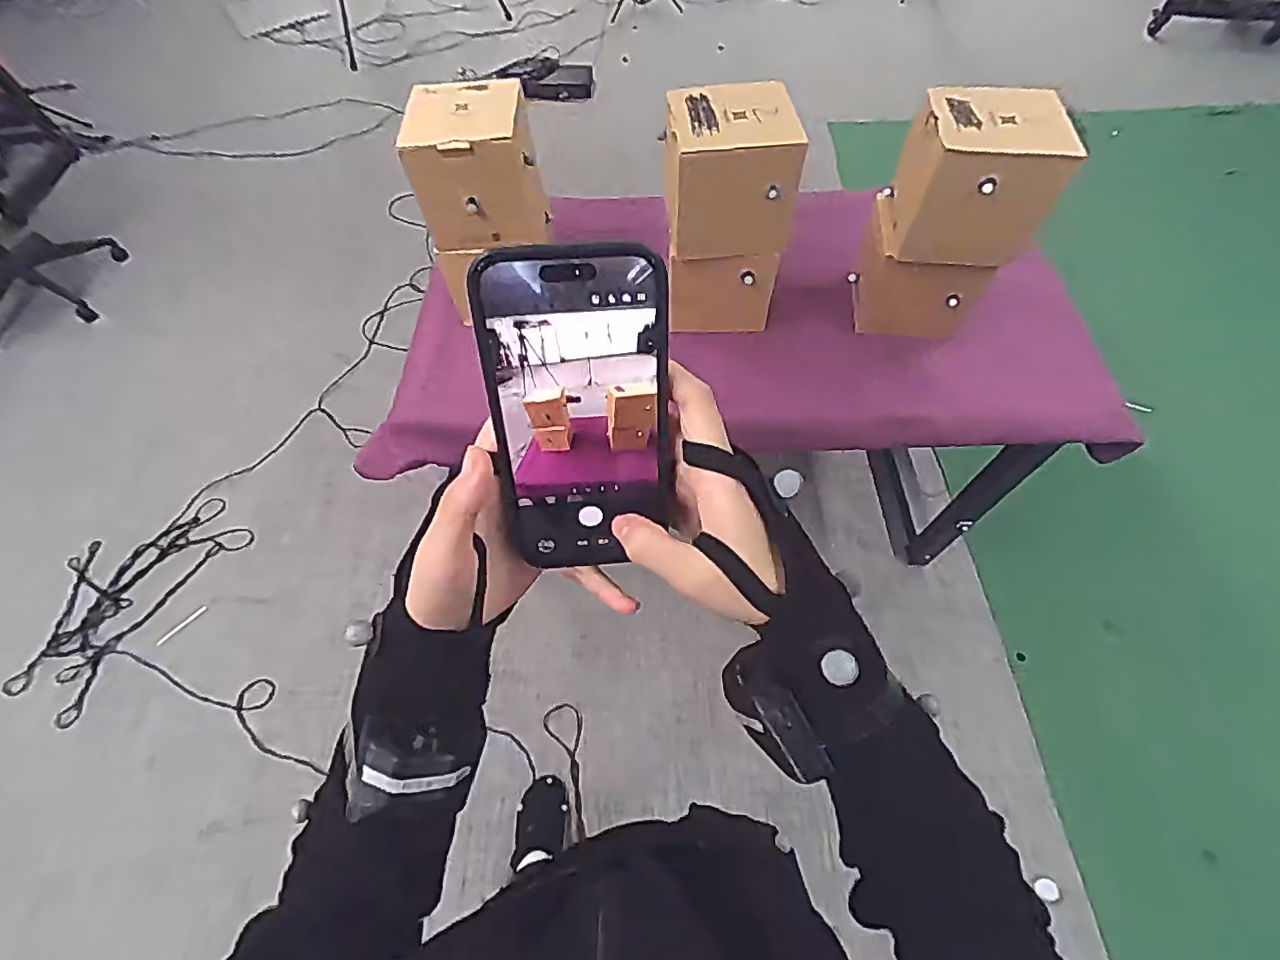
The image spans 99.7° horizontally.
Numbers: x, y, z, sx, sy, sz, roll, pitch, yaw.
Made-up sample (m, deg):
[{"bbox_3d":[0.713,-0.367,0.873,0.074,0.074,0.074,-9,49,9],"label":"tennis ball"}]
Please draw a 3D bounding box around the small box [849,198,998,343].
[{"bbox_3d":[0.478,-0.358,0.940,0.179,0.176,0.168,6,60,7],"label":"small box"}]

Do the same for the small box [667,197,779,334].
[{"bbox_3d":[0.140,-0.377,0.965,0.179,0.176,0.168,1,60,3],"label":"small box"}]

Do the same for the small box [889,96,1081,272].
[{"bbox_3d":[0.480,-0.427,0.791,0.179,0.176,0.168,6,60,6],"label":"small box"}]

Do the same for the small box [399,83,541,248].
[{"bbox_3d":[-0.256,-0.490,0.861,0.168,0.176,0.179,-3,60,0],"label":"small box"}]

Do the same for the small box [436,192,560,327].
[{"bbox_3d":[-0.249,-0.401,0.998,0.168,0.176,0.179,1,60,4],"label":"small box"}]
